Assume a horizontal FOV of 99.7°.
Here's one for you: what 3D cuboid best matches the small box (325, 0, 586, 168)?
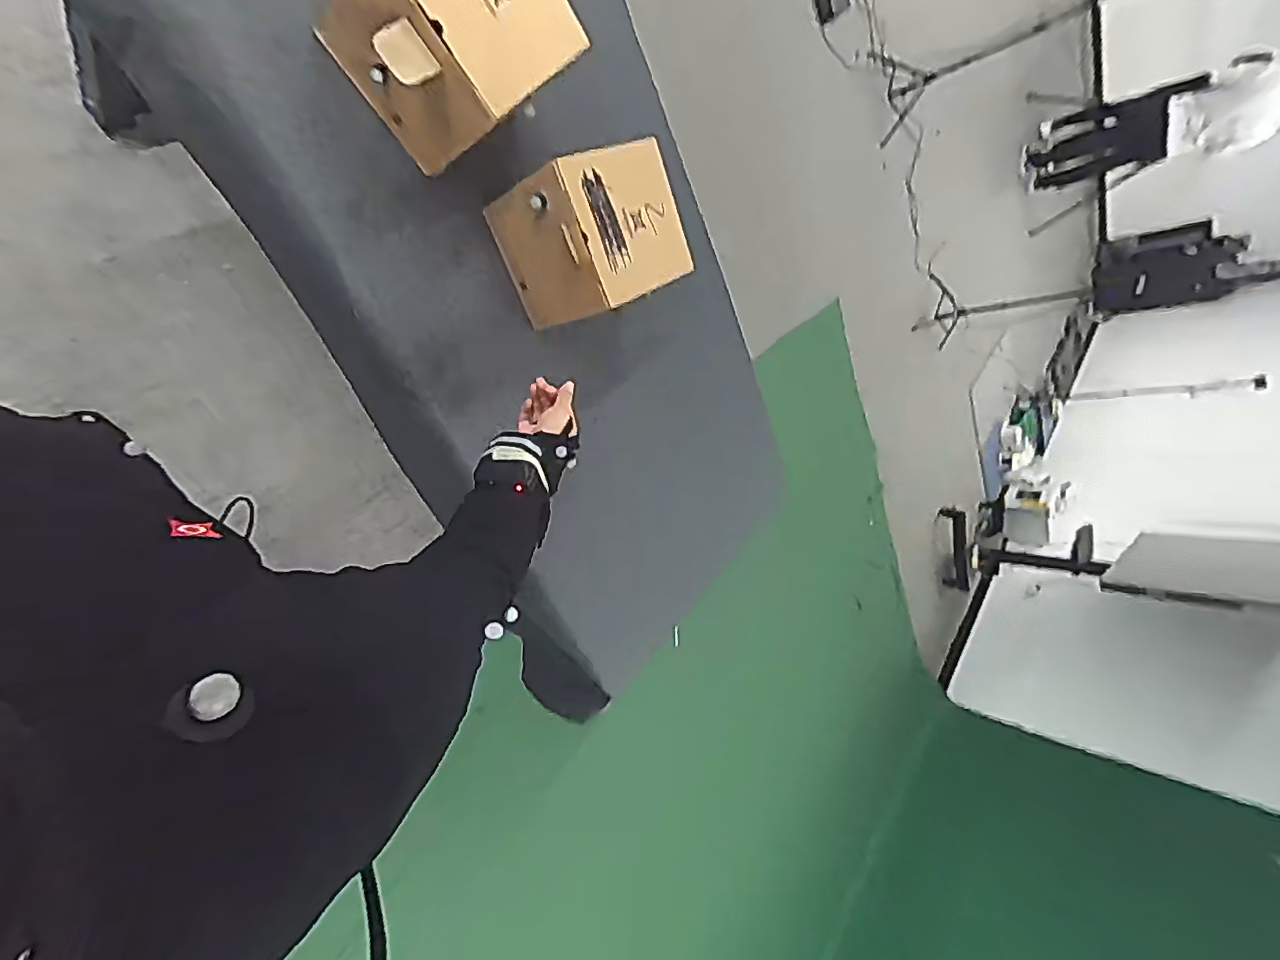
[{"bbox_3d":[-0.199,-0.480,0.582,0.168,0.176,0.179,50,61,-34],"label":"small box"}]
